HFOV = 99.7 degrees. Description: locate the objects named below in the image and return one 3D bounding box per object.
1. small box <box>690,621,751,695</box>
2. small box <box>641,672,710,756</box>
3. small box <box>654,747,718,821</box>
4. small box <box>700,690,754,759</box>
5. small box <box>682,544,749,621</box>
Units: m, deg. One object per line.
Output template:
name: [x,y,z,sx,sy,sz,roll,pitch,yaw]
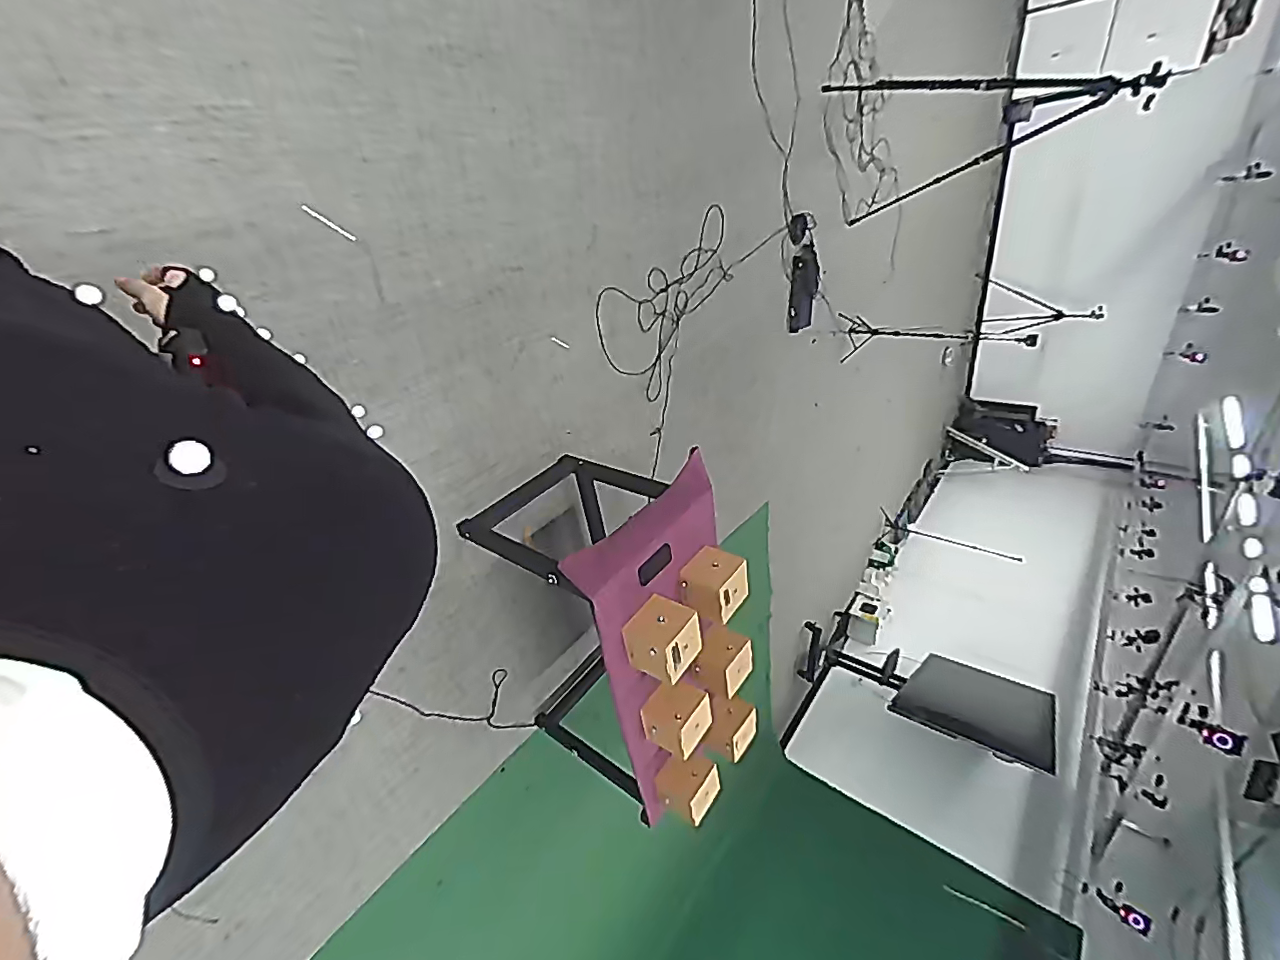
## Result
small box: [0.309,0.674,2.067,0.179,0.176,0.168,-36,129,-38]
small box: [0.124,0.806,1.882,0.179,0.176,0.168,-38,131,-38]
small box: [0.178,1.145,2.072,0.179,0.176,0.168,-37,129,-37]
small box: [0.362,1.009,2.261,0.179,0.176,0.168,-36,128,-39]
small box: [0.256,0.348,1.870,0.179,0.176,0.168,-38,130,-38]
